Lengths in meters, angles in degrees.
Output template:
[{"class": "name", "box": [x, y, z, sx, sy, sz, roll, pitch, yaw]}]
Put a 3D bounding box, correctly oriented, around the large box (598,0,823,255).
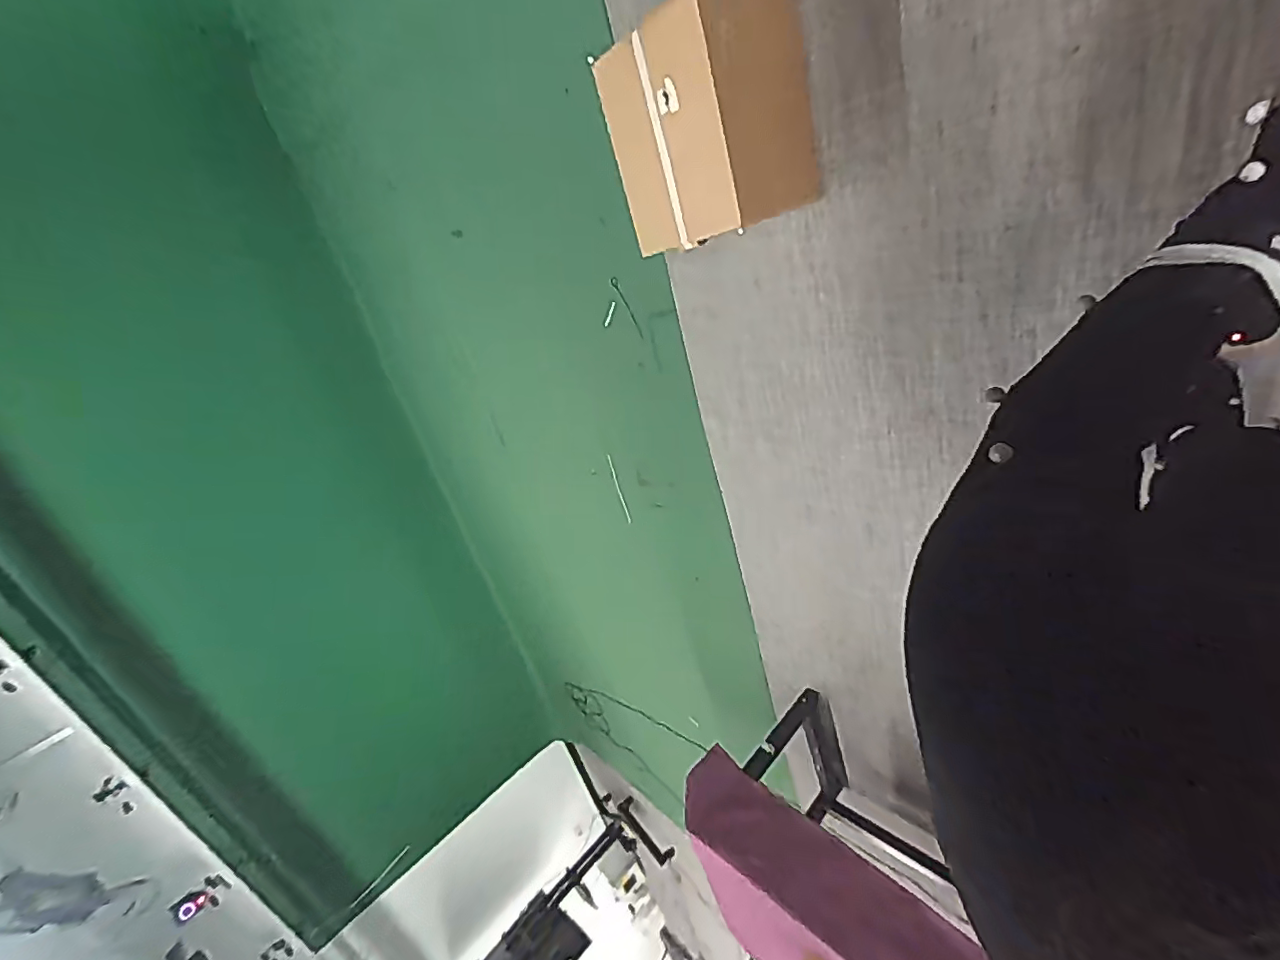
[{"class": "large box", "box": [0.166, -0.767, 1.205, 0.320, 0.320, 0.408, 11, 125, 49]}]
